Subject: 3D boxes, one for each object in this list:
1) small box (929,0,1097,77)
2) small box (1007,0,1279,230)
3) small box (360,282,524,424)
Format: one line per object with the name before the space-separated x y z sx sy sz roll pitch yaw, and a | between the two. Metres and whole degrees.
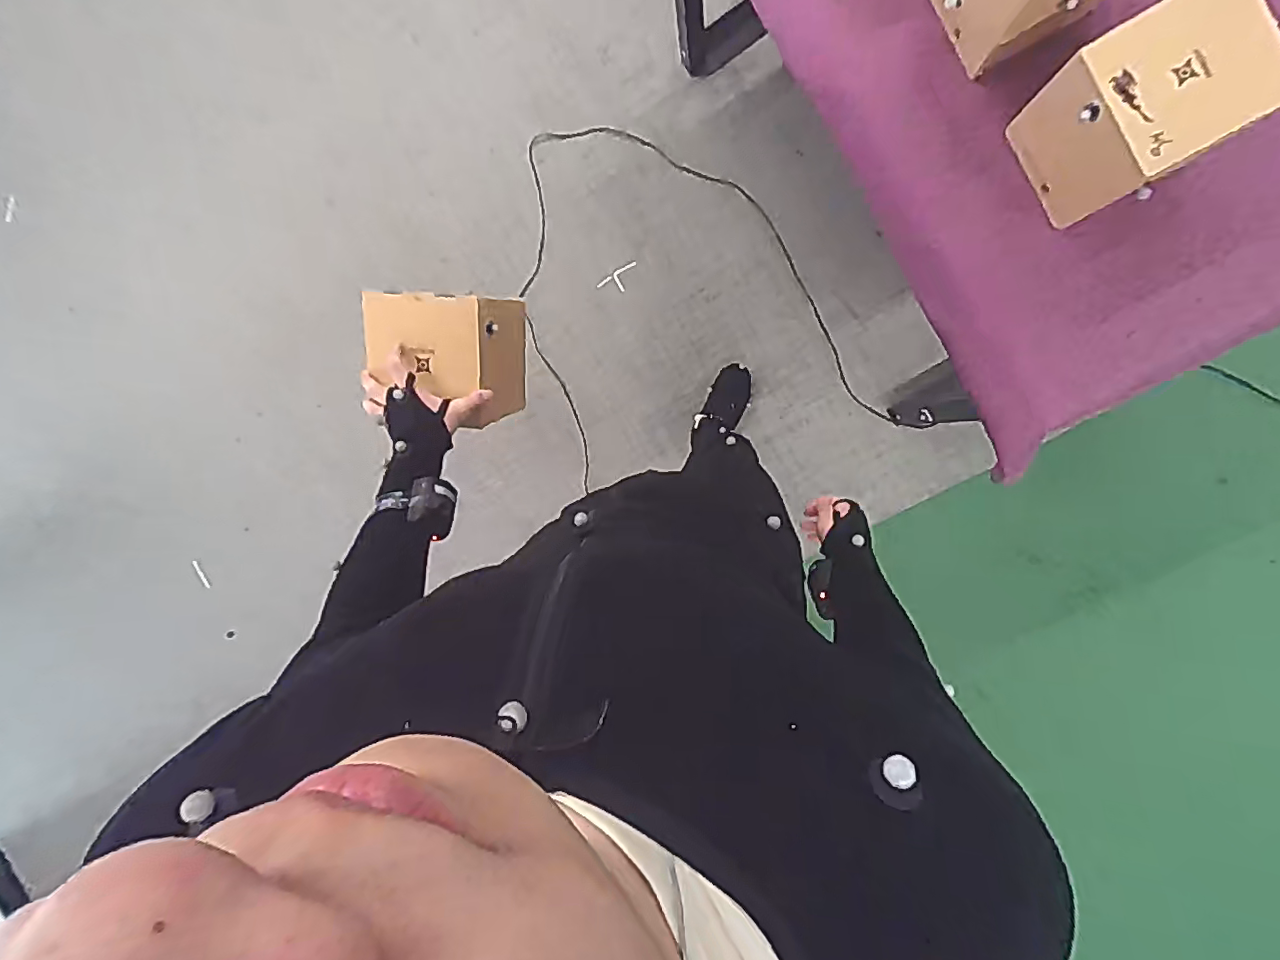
small box | 0.493 -0.664 0.669 0.179 0.176 0.168 -27 91 11
small box | 0.613 -0.450 0.670 0.179 0.176 0.168 -27 90 9
small box | -0.276 -0.189 0.791 0.168 0.176 0.179 6 107 8
